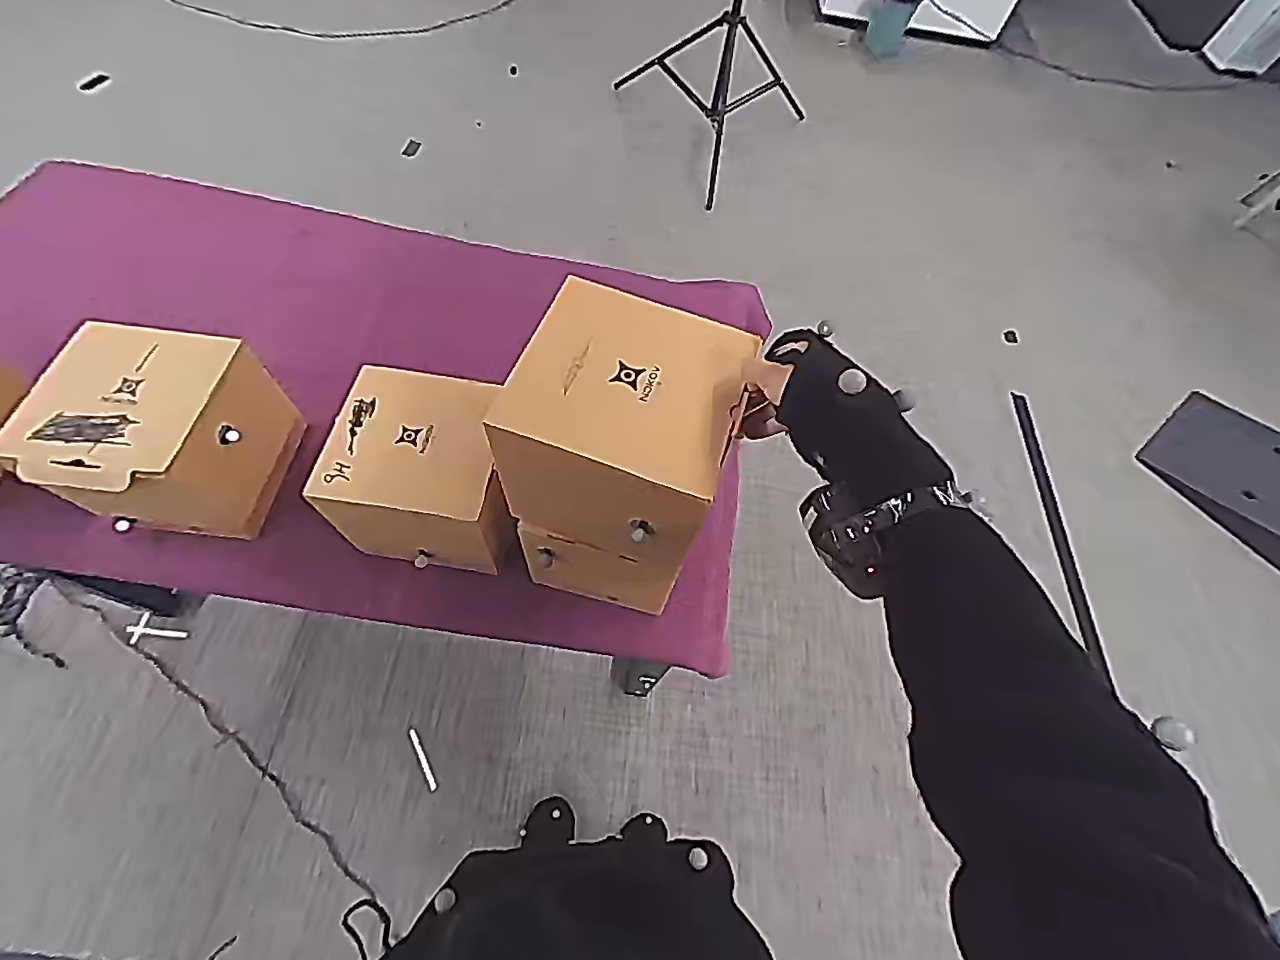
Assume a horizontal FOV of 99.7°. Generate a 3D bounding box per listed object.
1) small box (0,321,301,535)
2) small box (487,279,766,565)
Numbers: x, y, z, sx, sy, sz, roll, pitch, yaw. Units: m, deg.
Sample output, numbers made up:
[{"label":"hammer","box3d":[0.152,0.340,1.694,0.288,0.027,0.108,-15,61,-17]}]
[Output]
[{"label":"small box","box3d":[-0.527,-0.049,0.616,0.168,0.176,0.179,7,62,-4]},{"label":"small box","box3d":[-0.009,-0.040,0.486,0.179,0.176,0.168,19,61,5]}]
